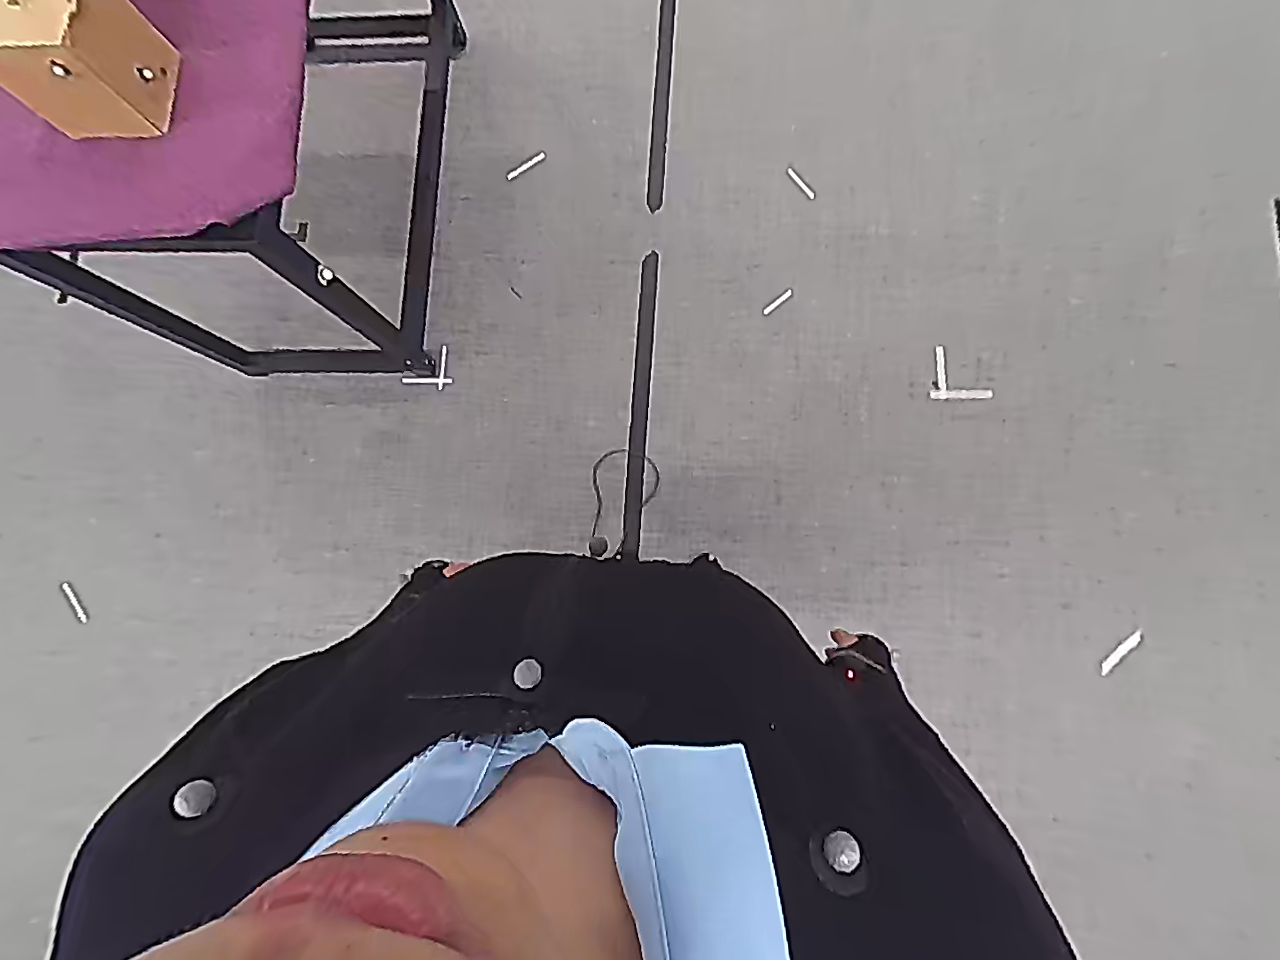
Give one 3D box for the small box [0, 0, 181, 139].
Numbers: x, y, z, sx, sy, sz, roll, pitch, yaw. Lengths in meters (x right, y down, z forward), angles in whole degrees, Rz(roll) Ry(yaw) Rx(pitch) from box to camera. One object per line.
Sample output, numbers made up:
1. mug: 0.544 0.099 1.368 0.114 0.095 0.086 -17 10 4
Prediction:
1. small box: -0.903 -0.682 0.869 0.179 0.176 0.168 0 80 1
